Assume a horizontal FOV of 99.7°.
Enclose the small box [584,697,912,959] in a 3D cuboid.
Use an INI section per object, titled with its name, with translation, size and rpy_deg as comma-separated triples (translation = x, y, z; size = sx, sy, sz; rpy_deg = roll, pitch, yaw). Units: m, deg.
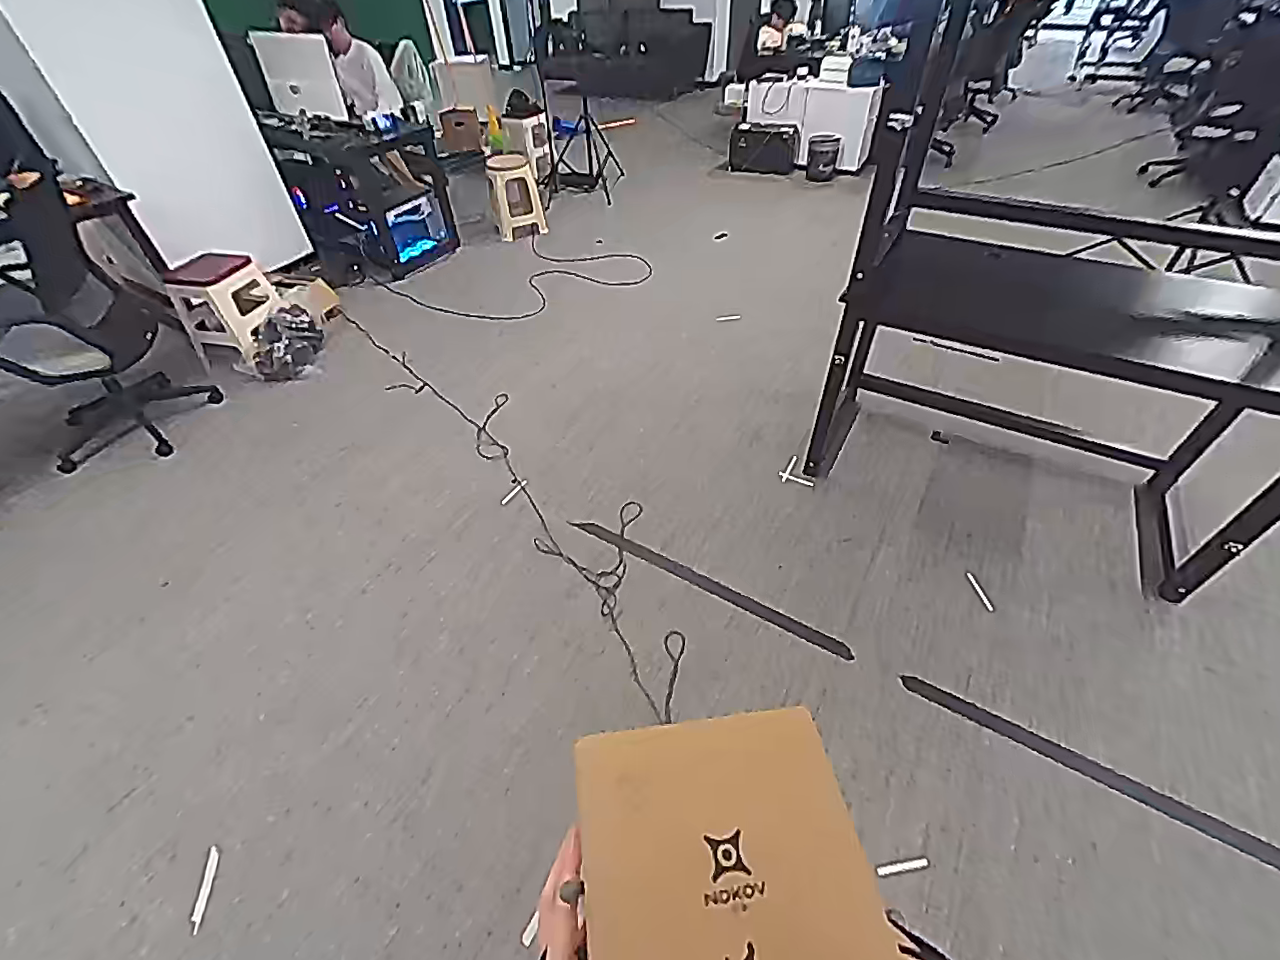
[small box]
translation = 0.049, 0.275, 0.367
size = 0.168, 0.176, 0.179
rpy_deg = -4, 46, -9
